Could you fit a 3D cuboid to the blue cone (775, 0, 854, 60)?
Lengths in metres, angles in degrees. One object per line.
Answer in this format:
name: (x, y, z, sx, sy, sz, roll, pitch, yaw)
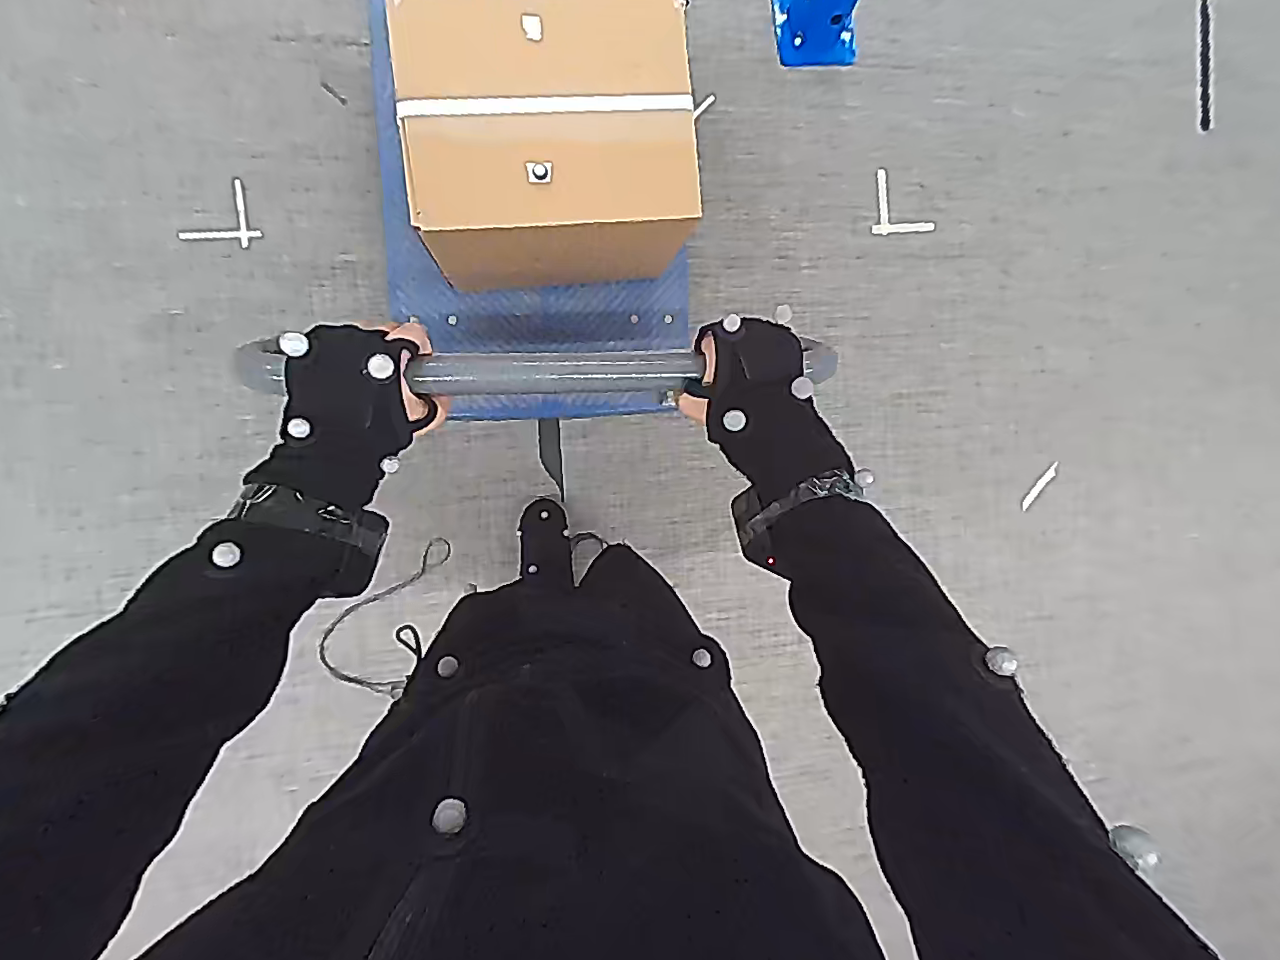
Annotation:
blue cone: (0.445, -1.092, 1.125, 0.193, 0.380, 0.192, -8, 94, -10)
